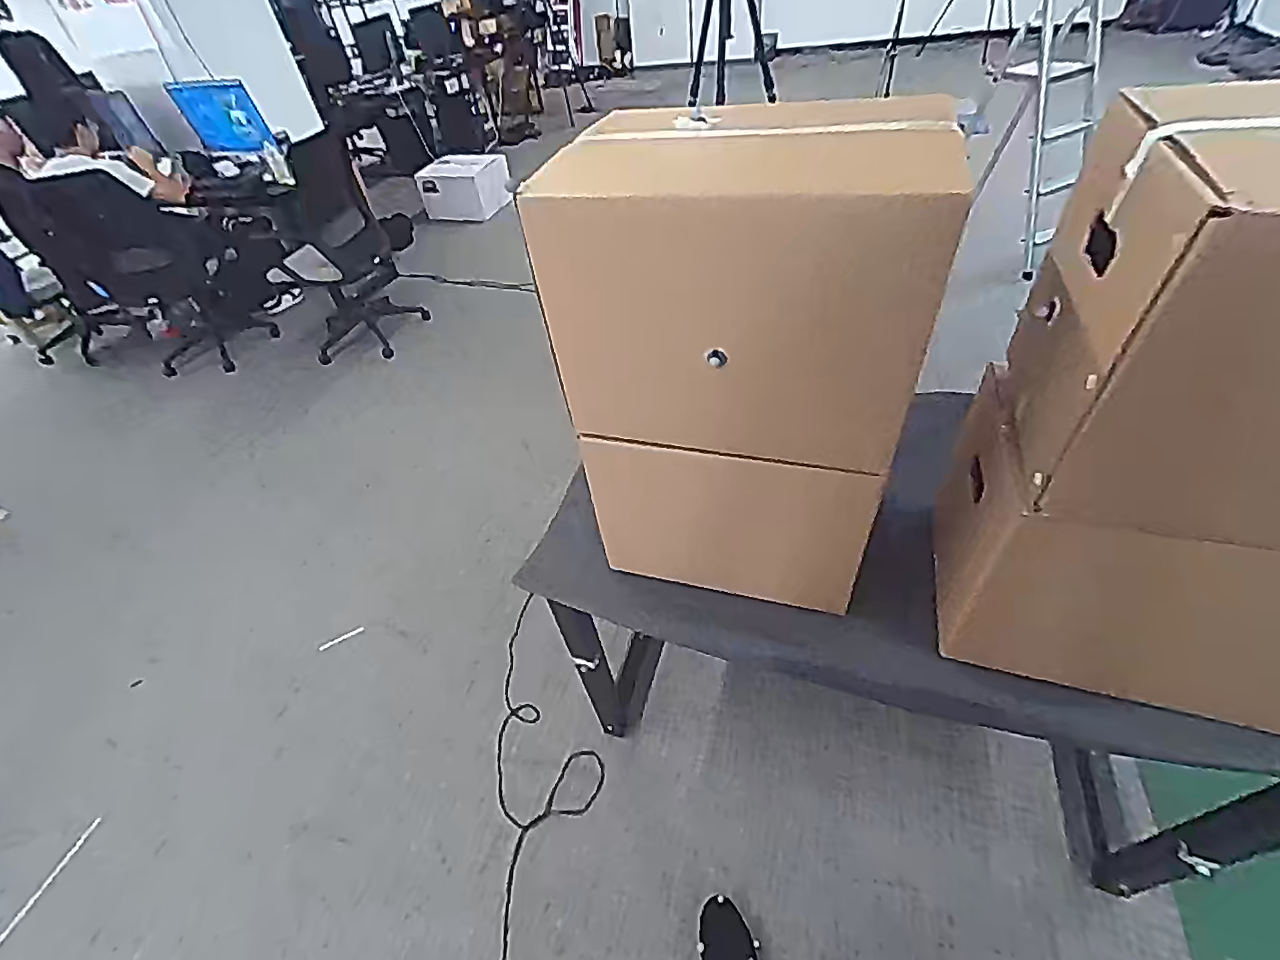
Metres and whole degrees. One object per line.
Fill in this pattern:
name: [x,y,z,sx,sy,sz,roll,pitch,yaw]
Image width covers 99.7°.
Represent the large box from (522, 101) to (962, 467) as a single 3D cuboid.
large box: [0.133,-0.245,0.685,0.408,0.320,0.320,8,47,18]
